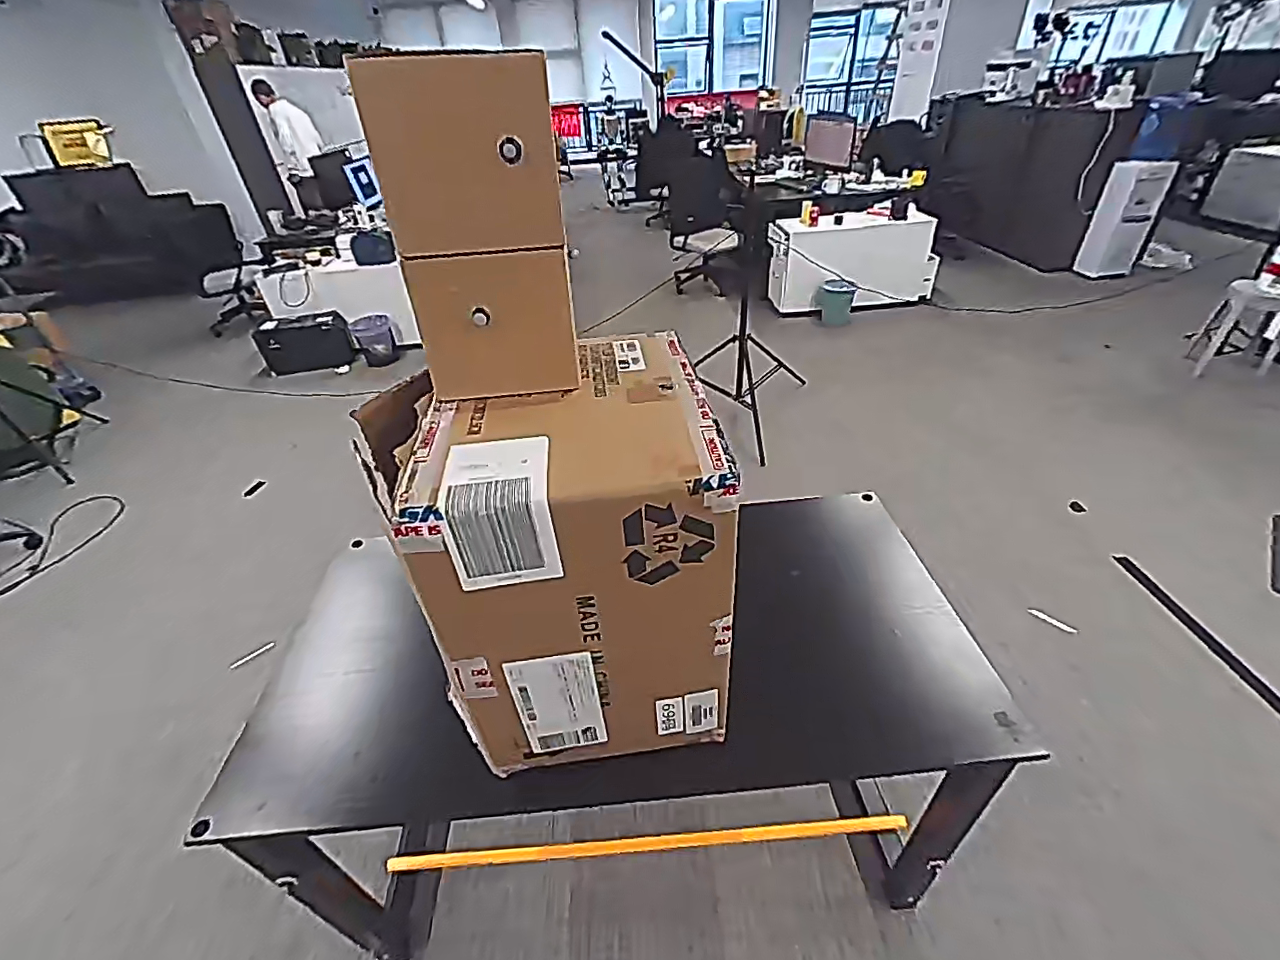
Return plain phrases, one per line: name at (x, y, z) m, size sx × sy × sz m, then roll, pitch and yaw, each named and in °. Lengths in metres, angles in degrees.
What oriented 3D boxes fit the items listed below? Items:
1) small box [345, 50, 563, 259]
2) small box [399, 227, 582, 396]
small box at (-0.178, -0.347, 0.583) m, size 0.179 × 0.176 × 0.168 m, roll -8°, pitch 34°, yaw -6°
small box at (-0.172, -0.215, 0.679) m, size 0.179 × 0.176 × 0.168 m, roll -7°, pitch 35°, yaw -4°
